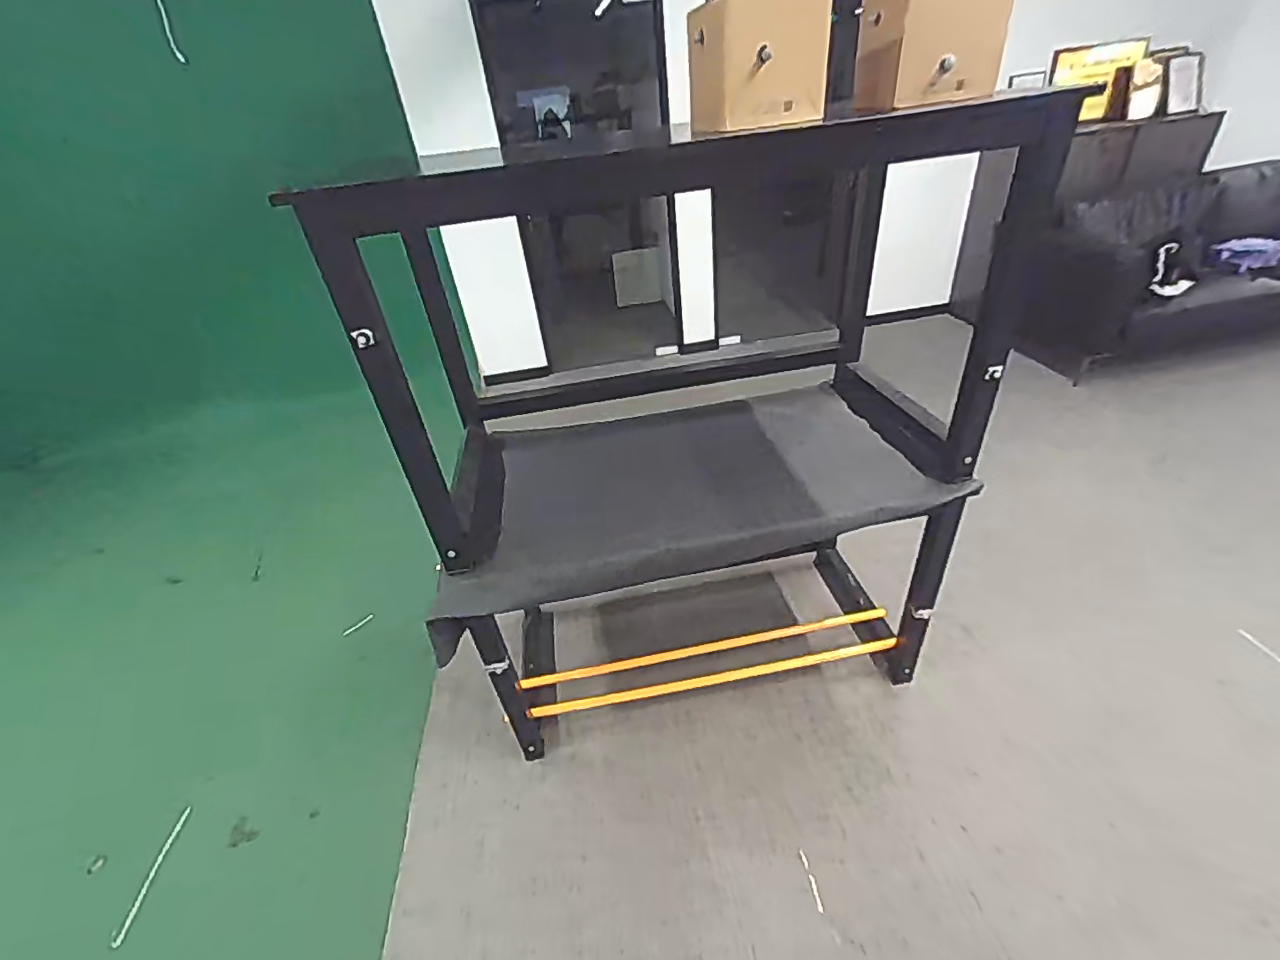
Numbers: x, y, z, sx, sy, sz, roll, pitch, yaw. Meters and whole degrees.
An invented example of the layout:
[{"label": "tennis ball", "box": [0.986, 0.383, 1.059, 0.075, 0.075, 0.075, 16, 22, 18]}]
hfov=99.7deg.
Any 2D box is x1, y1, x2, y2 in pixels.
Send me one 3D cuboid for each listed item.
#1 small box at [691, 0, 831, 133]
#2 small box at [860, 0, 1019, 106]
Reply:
[{"label": "small box", "box": [0.188, -0.663, 0.860, 0.168, 0.176, 0.179, -12, 34, -8]}, {"label": "small box", "box": [0.476, -0.719, 0.882, 0.168, 0.176, 0.179, -7, 35, 1]}]
